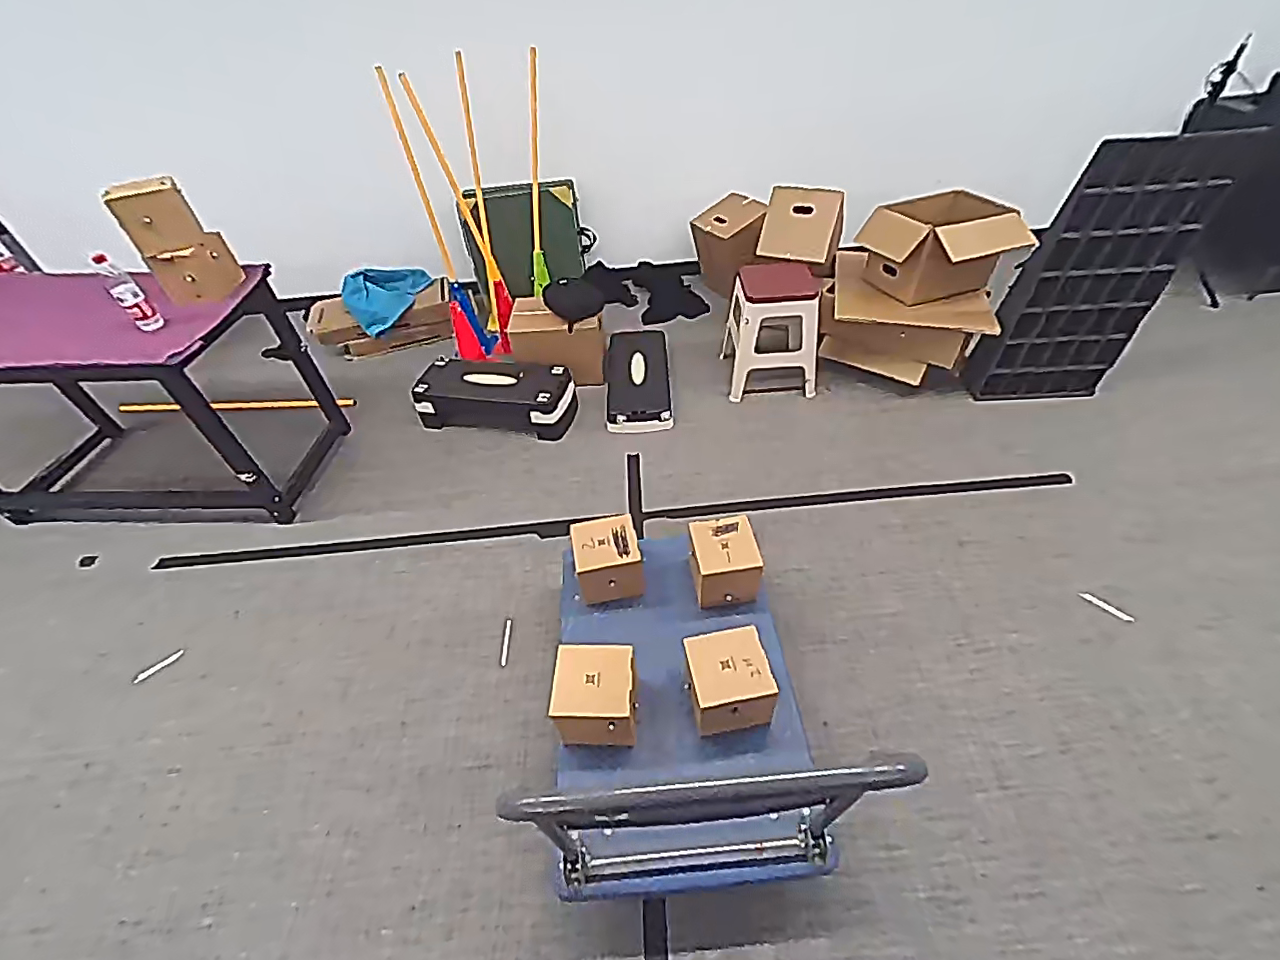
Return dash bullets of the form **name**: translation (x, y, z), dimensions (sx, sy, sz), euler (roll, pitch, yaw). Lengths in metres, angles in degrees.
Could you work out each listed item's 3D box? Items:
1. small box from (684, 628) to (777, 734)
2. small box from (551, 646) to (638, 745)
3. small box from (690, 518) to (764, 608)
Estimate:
- **small box**: translation (0.206, 0.473, 1.266), dimensions (0.179, 0.176, 0.168), euler (-9, 46, -4)
- **small box**: translation (-0.098, 0.505, 1.263), dimensions (0.179, 0.176, 0.168), euler (0, 45, 3)
- **small box**: translation (0.232, 0.231, 1.500), dimensions (0.168, 0.176, 0.179), euler (-8, 47, -3)
